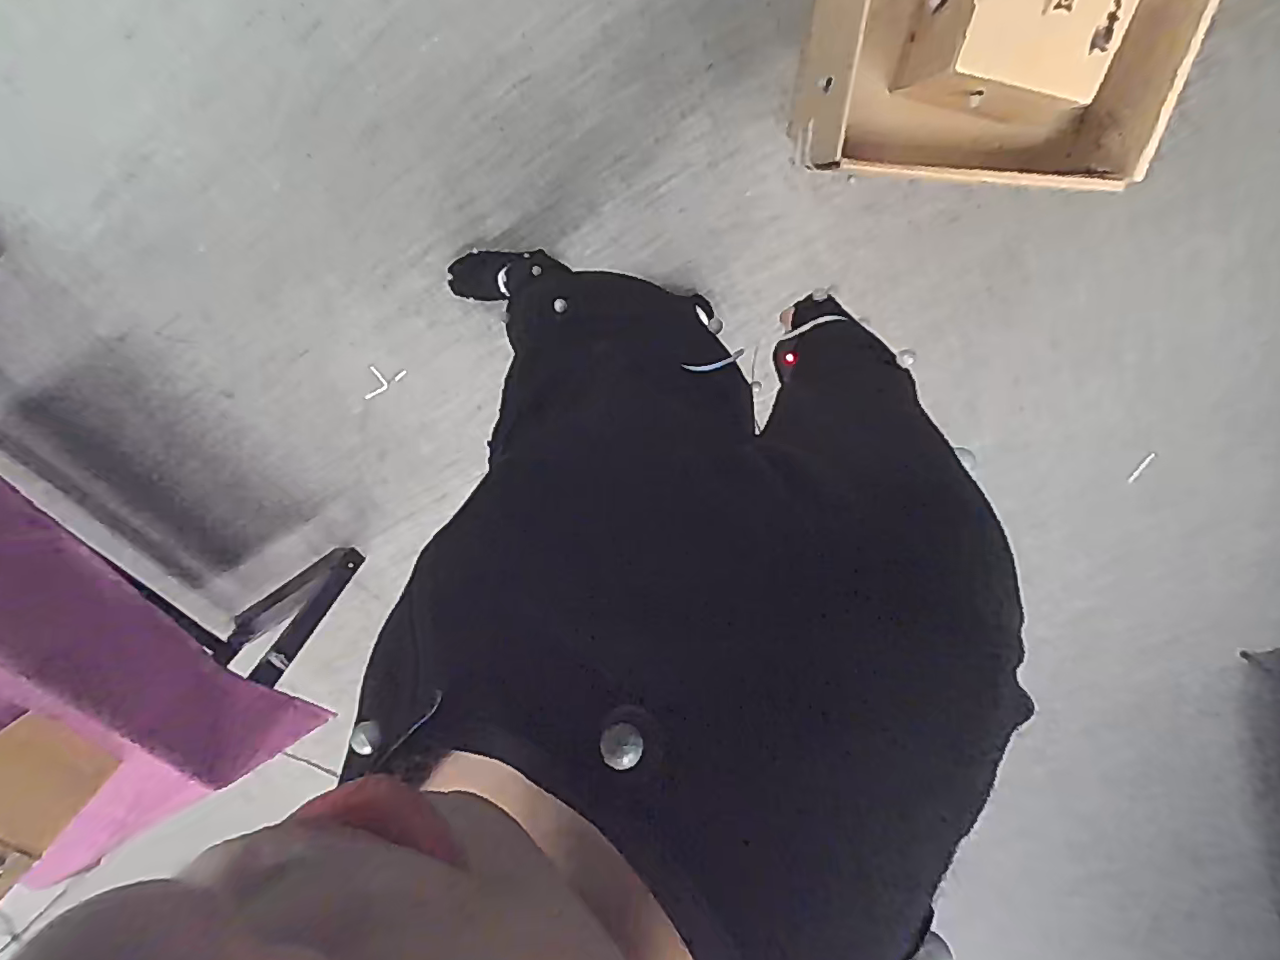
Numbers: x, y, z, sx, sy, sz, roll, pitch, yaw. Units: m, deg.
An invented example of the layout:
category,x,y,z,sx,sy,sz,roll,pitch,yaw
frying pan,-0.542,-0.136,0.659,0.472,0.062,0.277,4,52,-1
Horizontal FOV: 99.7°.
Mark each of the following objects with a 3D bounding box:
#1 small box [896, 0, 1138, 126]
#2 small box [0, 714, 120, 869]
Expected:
category,x,y,z,sx,sy,sz,roll,pitch,yaw
small box,0.445,-0.546,0.654,0.179,0.176,0.168,10,118,-5
small box,-1.049,0.529,0.901,0.168,0.176,0.179,-30,113,14
